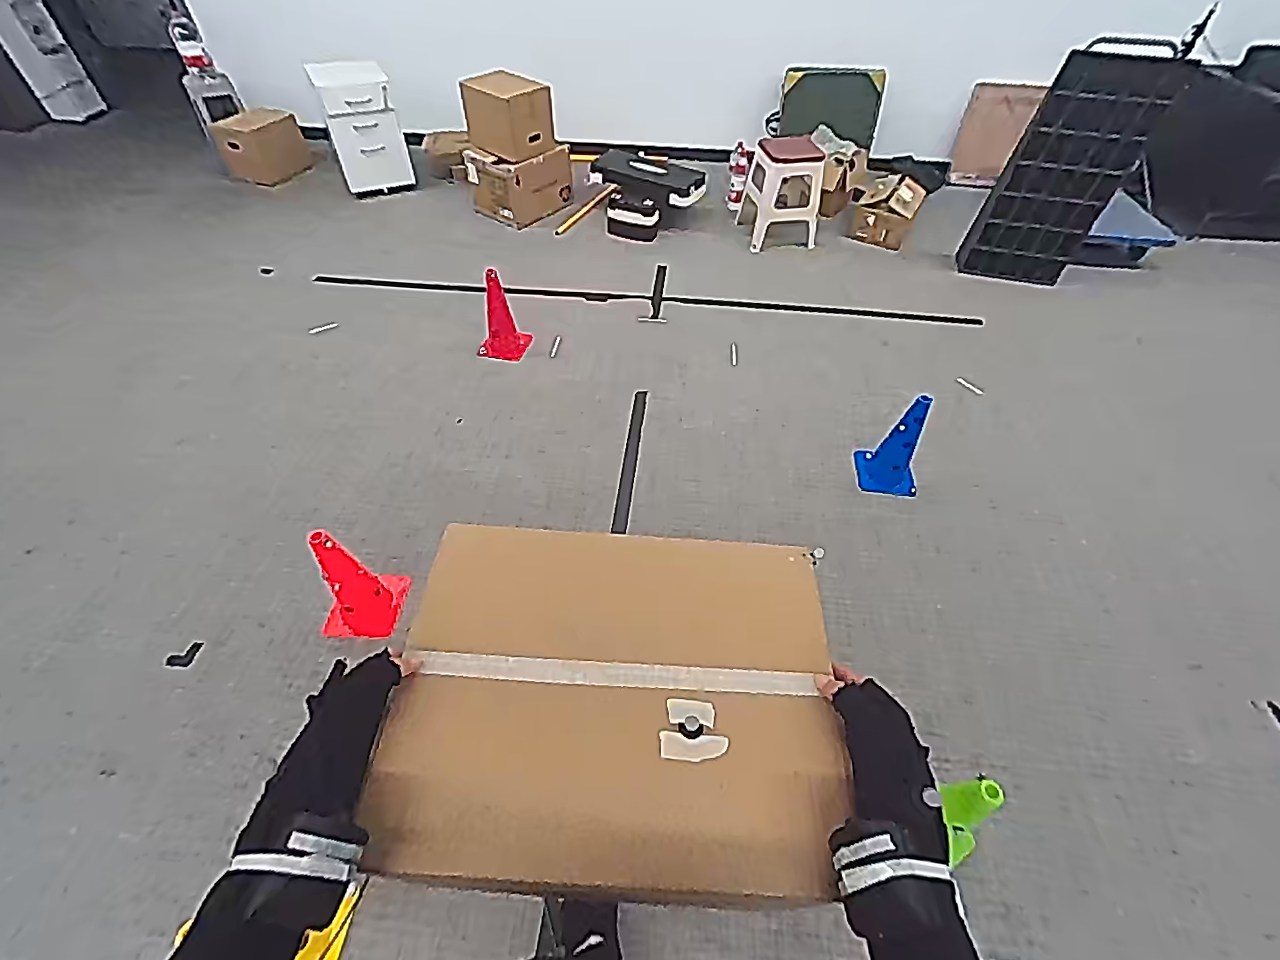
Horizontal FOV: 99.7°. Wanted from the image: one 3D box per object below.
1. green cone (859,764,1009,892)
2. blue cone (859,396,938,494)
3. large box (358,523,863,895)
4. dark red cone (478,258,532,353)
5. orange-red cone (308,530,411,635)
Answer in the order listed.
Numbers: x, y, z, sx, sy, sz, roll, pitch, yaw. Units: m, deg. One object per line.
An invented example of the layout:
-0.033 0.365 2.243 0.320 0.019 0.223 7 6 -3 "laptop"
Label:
0.646 0.685 1.121 0.202 0.368 0.200 -24 55 -22 "green cone"
0.910 -0.135 1.856 0.192 0.380 0.193 8 50 4 "blue cone"
-0.025 0.272 0.626 0.408 0.320 0.320 4 51 -1 "large box"
-0.591 -0.737 2.276 0.201 0.394 0.202 10 50 6 "dark red cone"
-0.791 0.250 1.453 0.198 0.360 0.199 3 51 2 "orange-red cone"
